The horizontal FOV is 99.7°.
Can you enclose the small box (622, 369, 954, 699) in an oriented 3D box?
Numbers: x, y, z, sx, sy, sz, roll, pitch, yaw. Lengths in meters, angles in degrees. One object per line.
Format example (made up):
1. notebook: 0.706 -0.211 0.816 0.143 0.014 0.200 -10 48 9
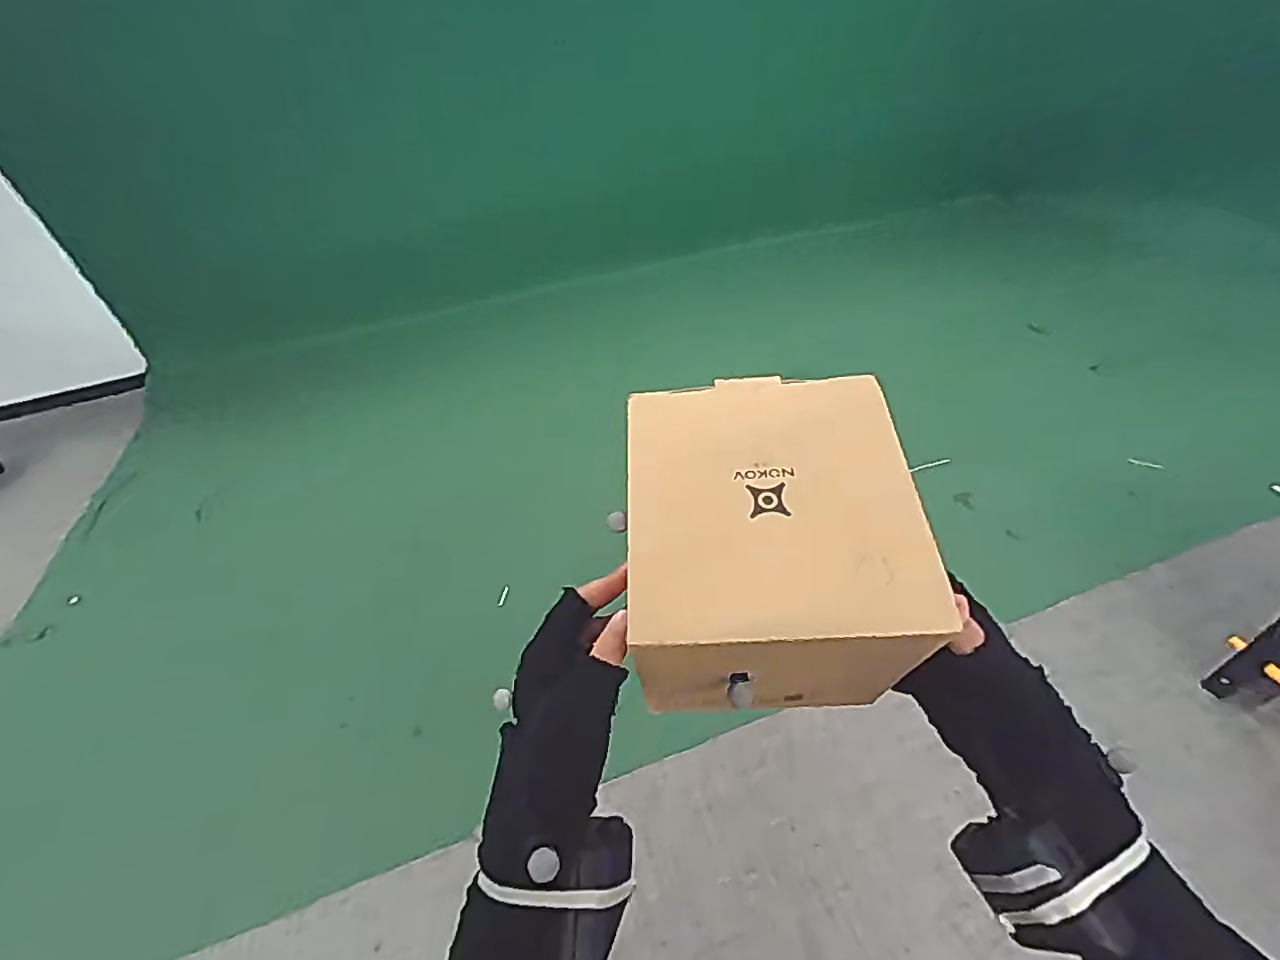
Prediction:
1. small box: 0.081 0.049 0.379 0.168 0.176 0.179 -3 55 4
